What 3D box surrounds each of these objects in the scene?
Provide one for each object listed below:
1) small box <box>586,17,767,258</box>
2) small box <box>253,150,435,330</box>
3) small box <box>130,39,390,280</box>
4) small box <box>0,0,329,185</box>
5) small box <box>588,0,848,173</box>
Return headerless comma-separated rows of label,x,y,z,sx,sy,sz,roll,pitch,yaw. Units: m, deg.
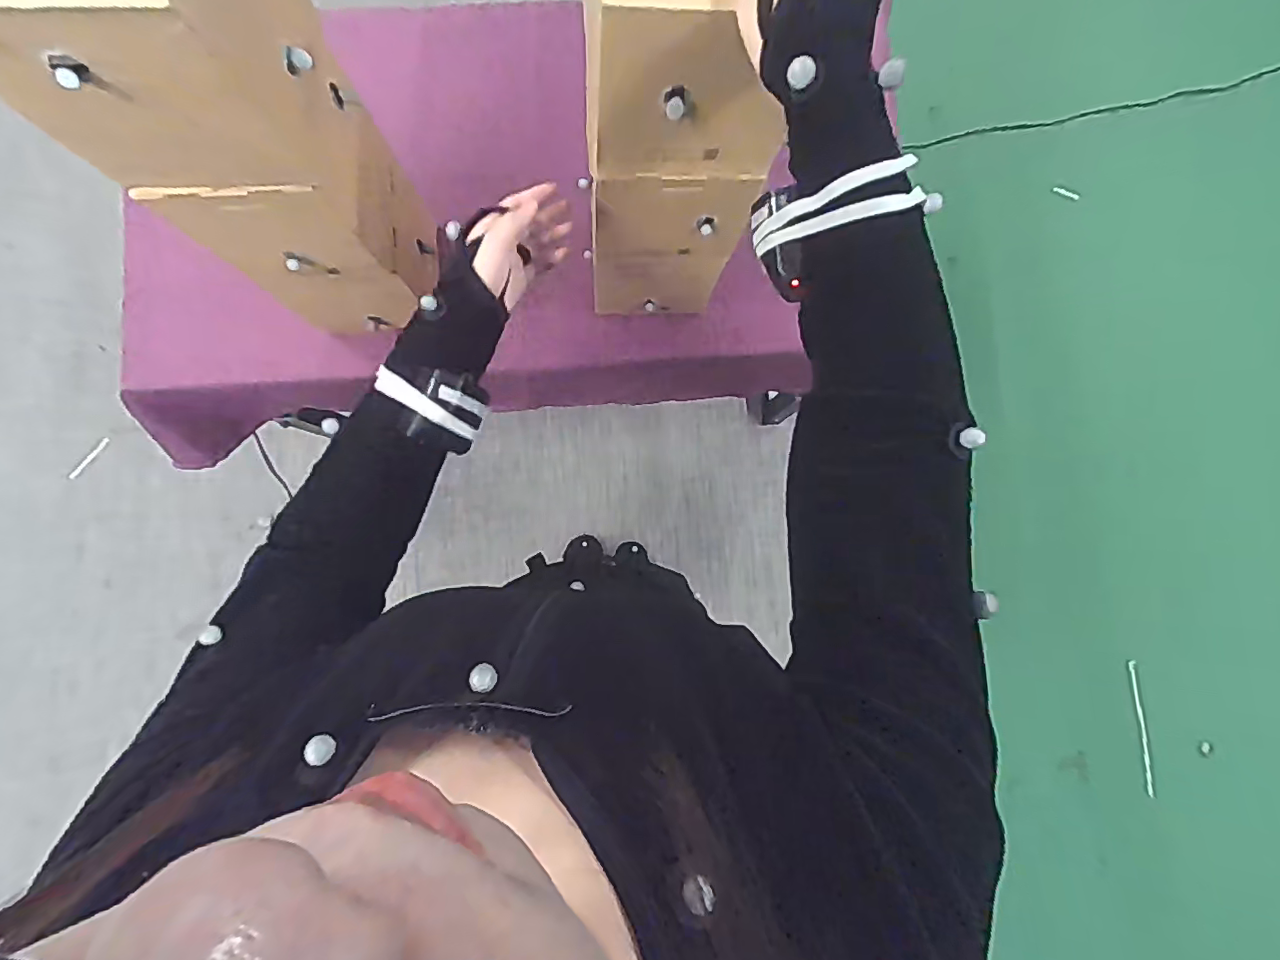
small box,0.029,-0.361,0.594,0.168,0.176,0.179,-4,85,-6
small box,-0.391,-0.317,0.741,0.179,0.176,0.168,-5,85,-3
small box,-0.384,-0.336,0.577,0.168,0.176,0.179,-4,85,-2
small box,-0.372,-0.353,0.413,0.179,0.176,0.168,-2,85,-3
small box,0.044,-0.375,0.433,0.168,0.176,0.179,-3,86,-7
